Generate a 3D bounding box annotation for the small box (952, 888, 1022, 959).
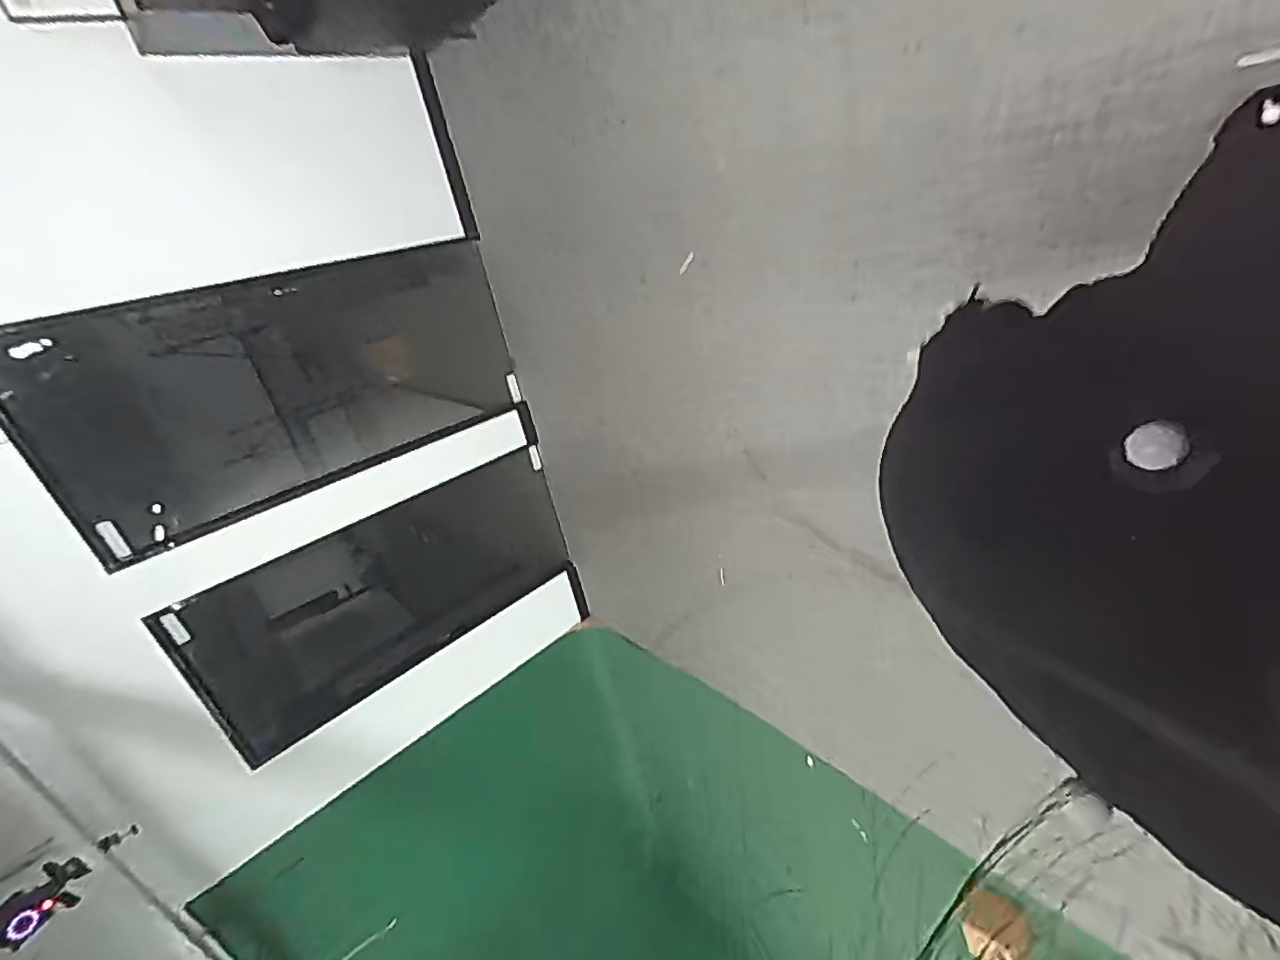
[{"bbox_3d":[1.342,1.733,2.080,0.179,0.176,0.168,-3,111,55],"label":"small box"}]
